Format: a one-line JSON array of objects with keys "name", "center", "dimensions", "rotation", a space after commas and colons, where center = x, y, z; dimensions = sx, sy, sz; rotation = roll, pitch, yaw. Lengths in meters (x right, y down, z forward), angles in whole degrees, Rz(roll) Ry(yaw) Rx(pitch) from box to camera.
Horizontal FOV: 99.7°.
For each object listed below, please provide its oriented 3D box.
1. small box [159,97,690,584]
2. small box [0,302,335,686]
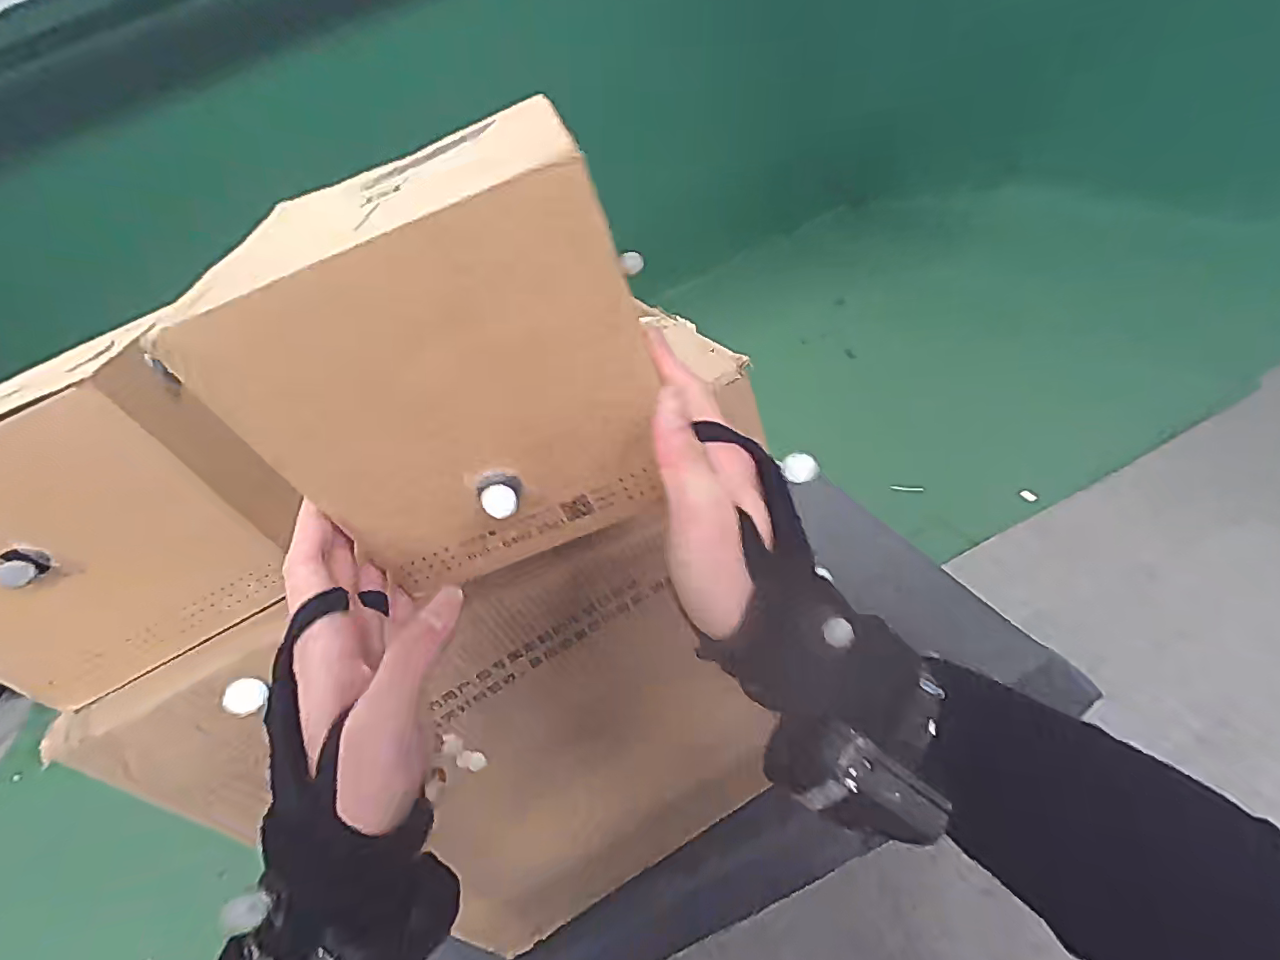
[{"name": "small box", "center": [-0.086, -0.075, 0.299], "dimensions": [0.168, 0.176, 0.179], "rotation": [-21, 43, 3]}, {"name": "small box", "center": [-0.351, 0.008, 0.381], "dimensions": [0.179, 0.176, 0.168], "rotation": [-31, 39, -6]}]
